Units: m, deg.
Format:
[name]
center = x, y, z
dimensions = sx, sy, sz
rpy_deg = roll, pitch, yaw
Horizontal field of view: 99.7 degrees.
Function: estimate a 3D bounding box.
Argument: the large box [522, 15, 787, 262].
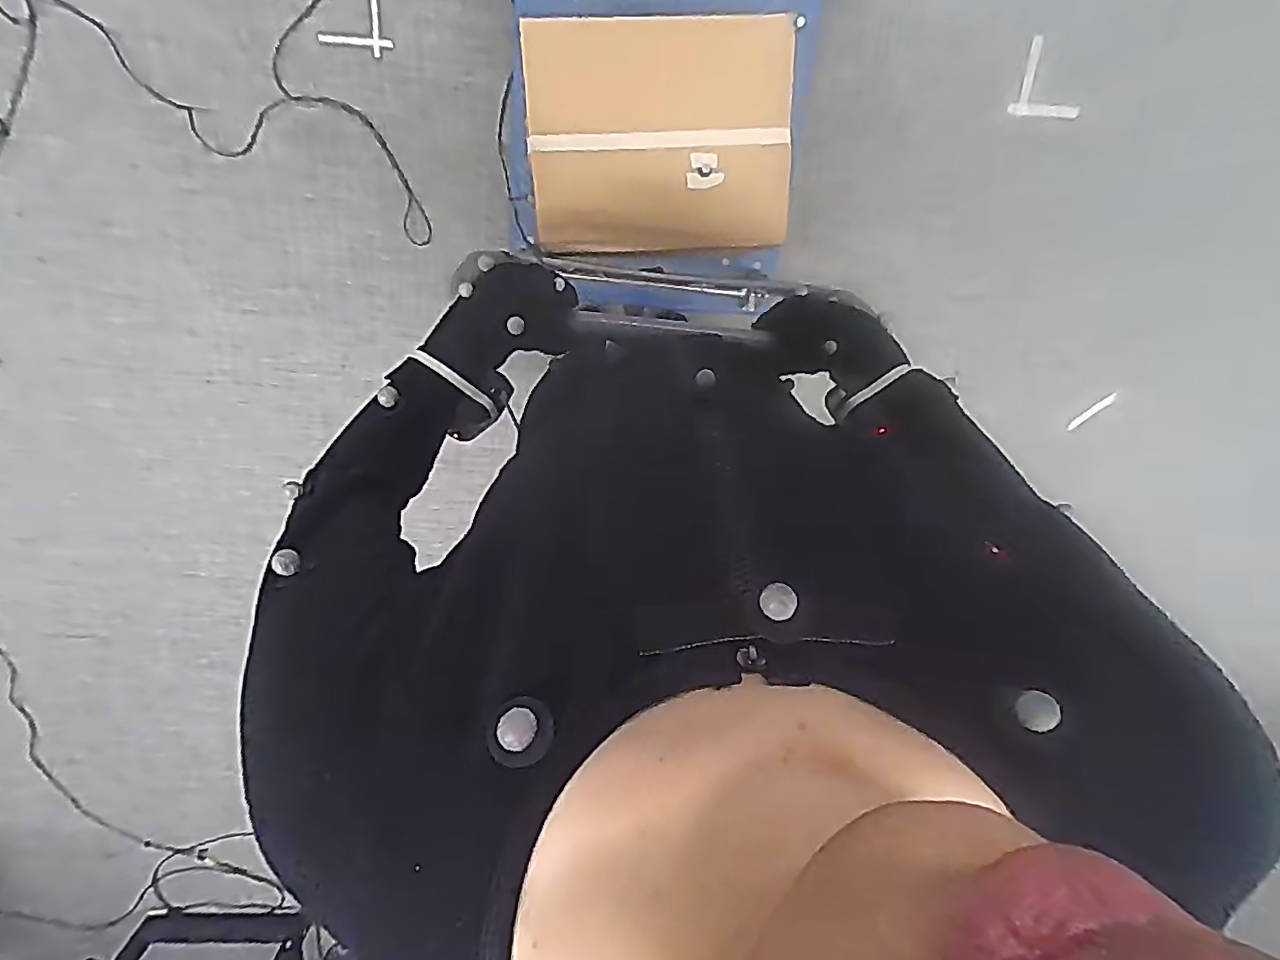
[large box]
center = 0.019, -0.585, 0.989
dimensions = 0.408, 0.320, 0.320
rpy_deg = -4, 110, -3
